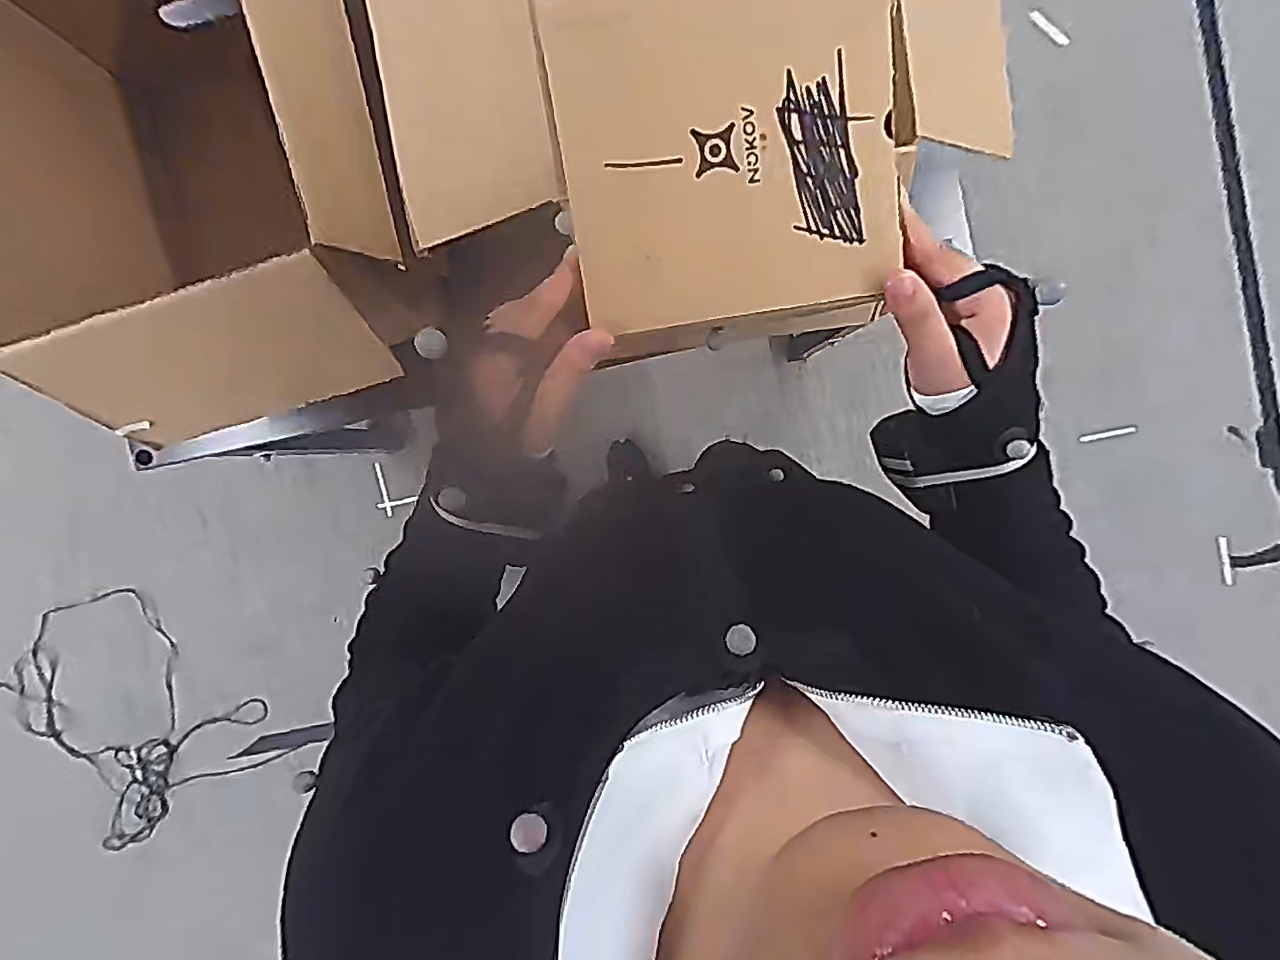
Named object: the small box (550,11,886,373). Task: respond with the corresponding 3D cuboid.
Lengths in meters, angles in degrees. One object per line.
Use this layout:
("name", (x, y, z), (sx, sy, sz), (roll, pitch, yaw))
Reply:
("small box", (0.046, -0.172, 0.375), (0.179, 0.176, 0.168), (-8, 103, 1))
